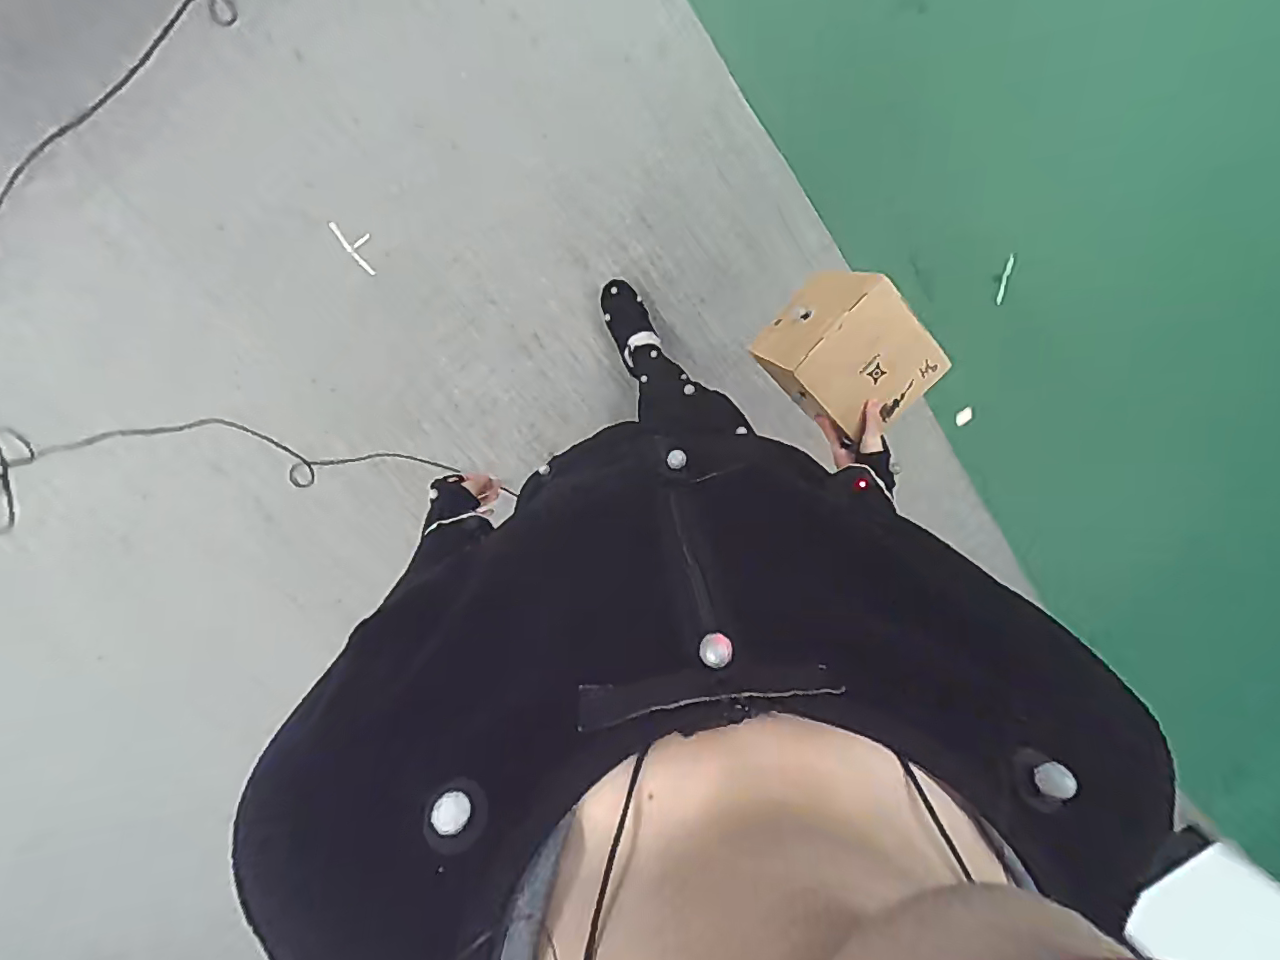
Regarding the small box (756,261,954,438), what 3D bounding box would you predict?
[{"bbox_3d":[0.300,-0.194,0.791,0.179,0.176,0.168,39,102,-22],"label":"small box"}]
